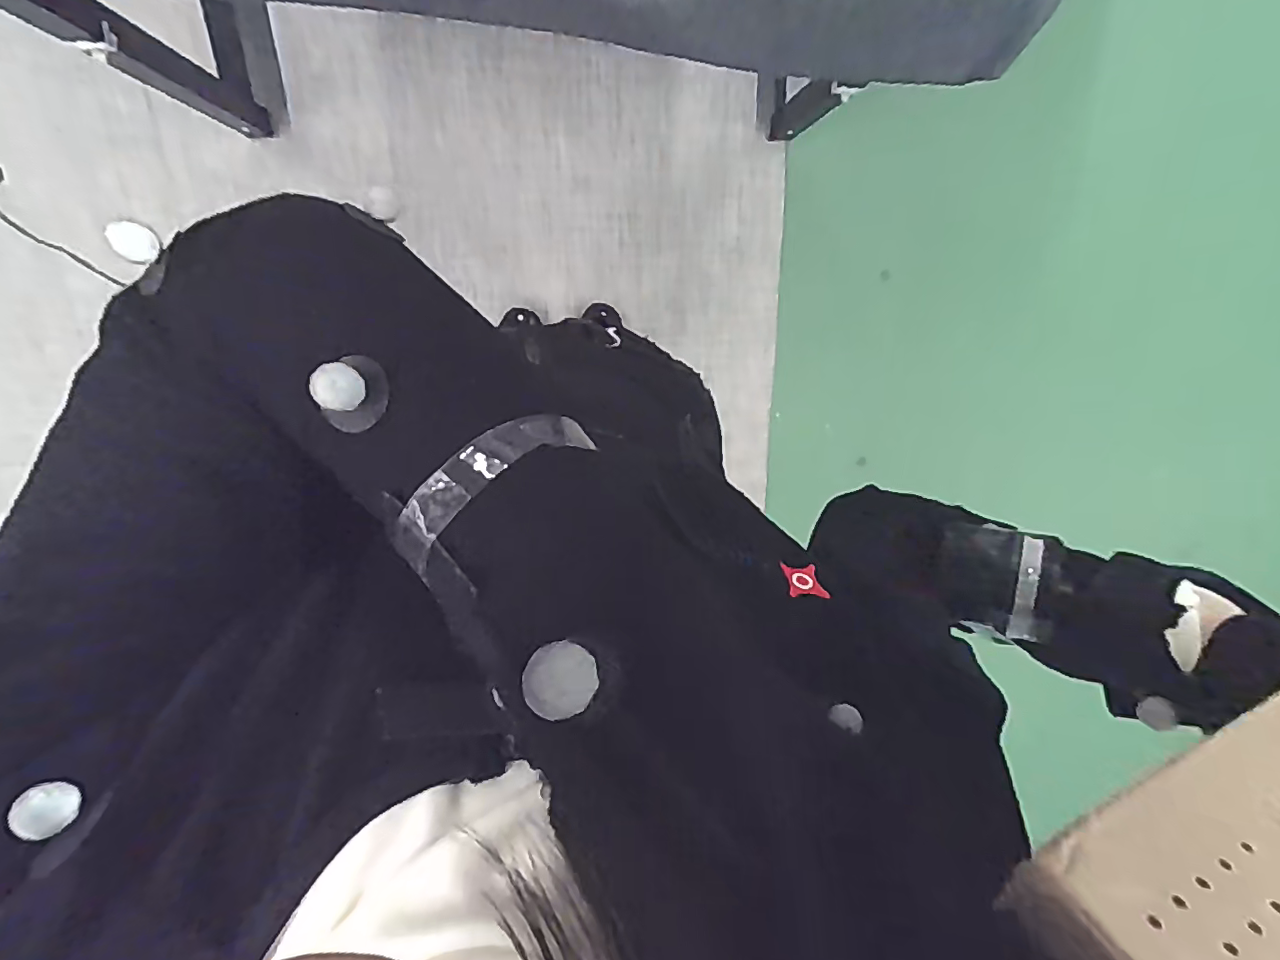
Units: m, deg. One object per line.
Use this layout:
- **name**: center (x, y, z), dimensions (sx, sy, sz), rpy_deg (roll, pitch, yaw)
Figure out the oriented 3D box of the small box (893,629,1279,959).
- **small box**: center (0.167, 0.153, 0.107), dimensions (0.168, 0.176, 0.179), rpy_deg (-13, 122, -20)
